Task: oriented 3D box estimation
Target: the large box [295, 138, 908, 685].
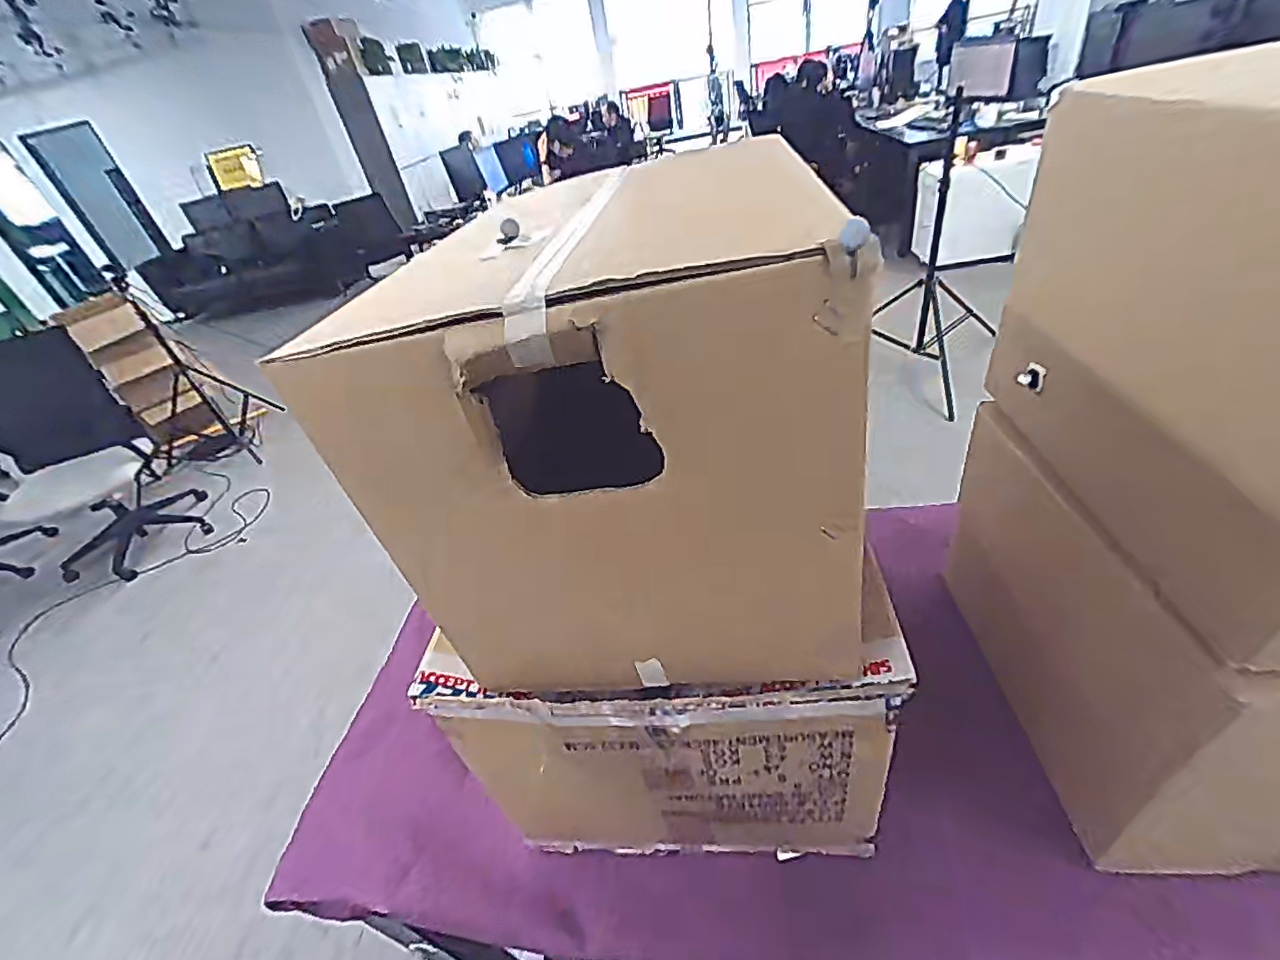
[{"bbox_3d":[0.011,-0.080,0.495,0.320,0.320,0.408,-8,37,12],"label":"large box"}]
